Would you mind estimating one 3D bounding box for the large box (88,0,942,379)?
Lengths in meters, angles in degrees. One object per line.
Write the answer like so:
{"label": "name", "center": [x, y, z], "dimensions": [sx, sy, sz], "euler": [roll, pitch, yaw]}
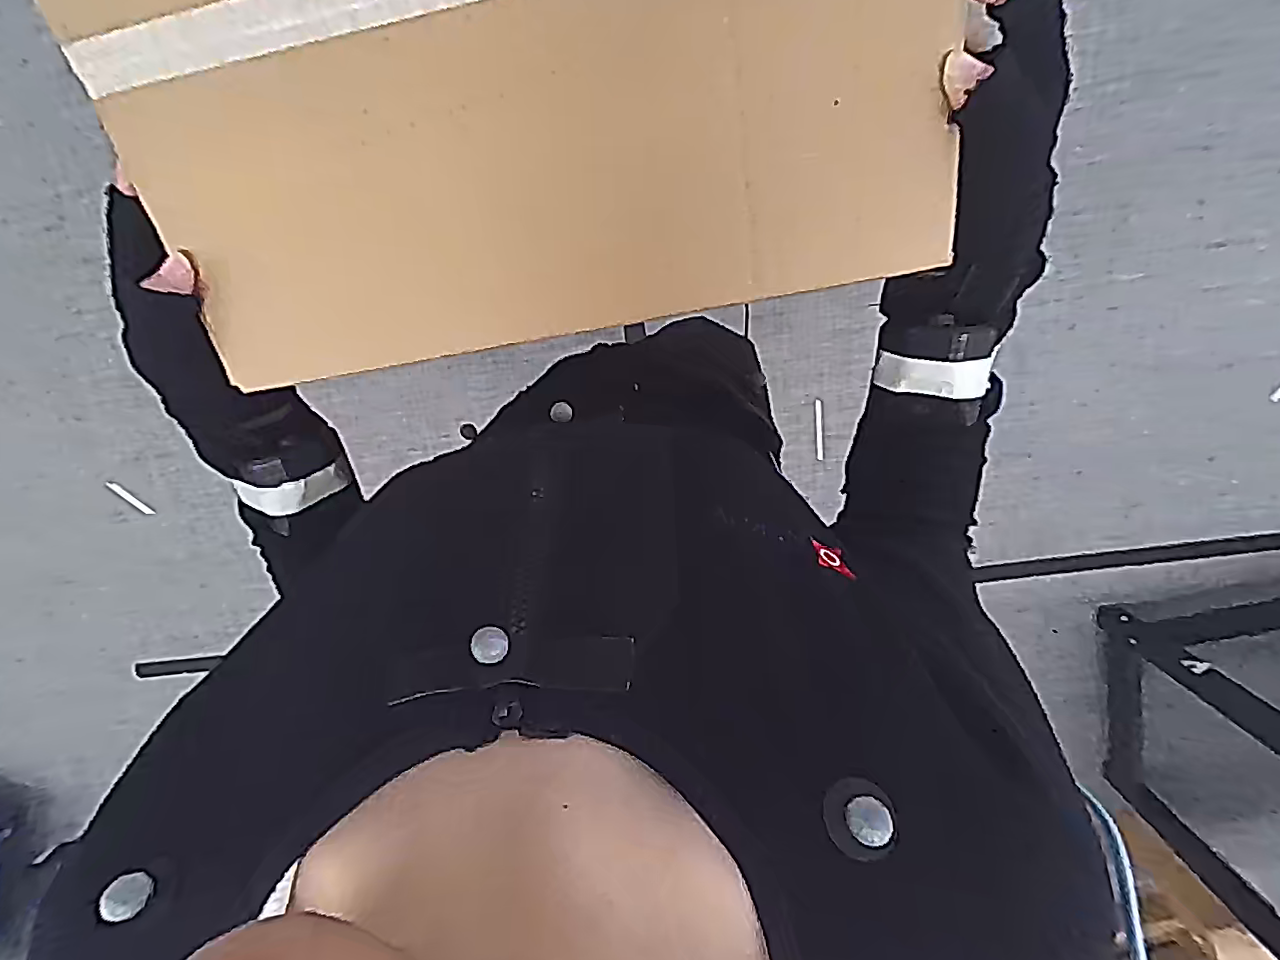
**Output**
{"label": "large box", "center": [-0.061, -0.290, 0.387], "dimensions": [0.408, 0.320, 0.320], "euler": [-9, 114, 6]}
